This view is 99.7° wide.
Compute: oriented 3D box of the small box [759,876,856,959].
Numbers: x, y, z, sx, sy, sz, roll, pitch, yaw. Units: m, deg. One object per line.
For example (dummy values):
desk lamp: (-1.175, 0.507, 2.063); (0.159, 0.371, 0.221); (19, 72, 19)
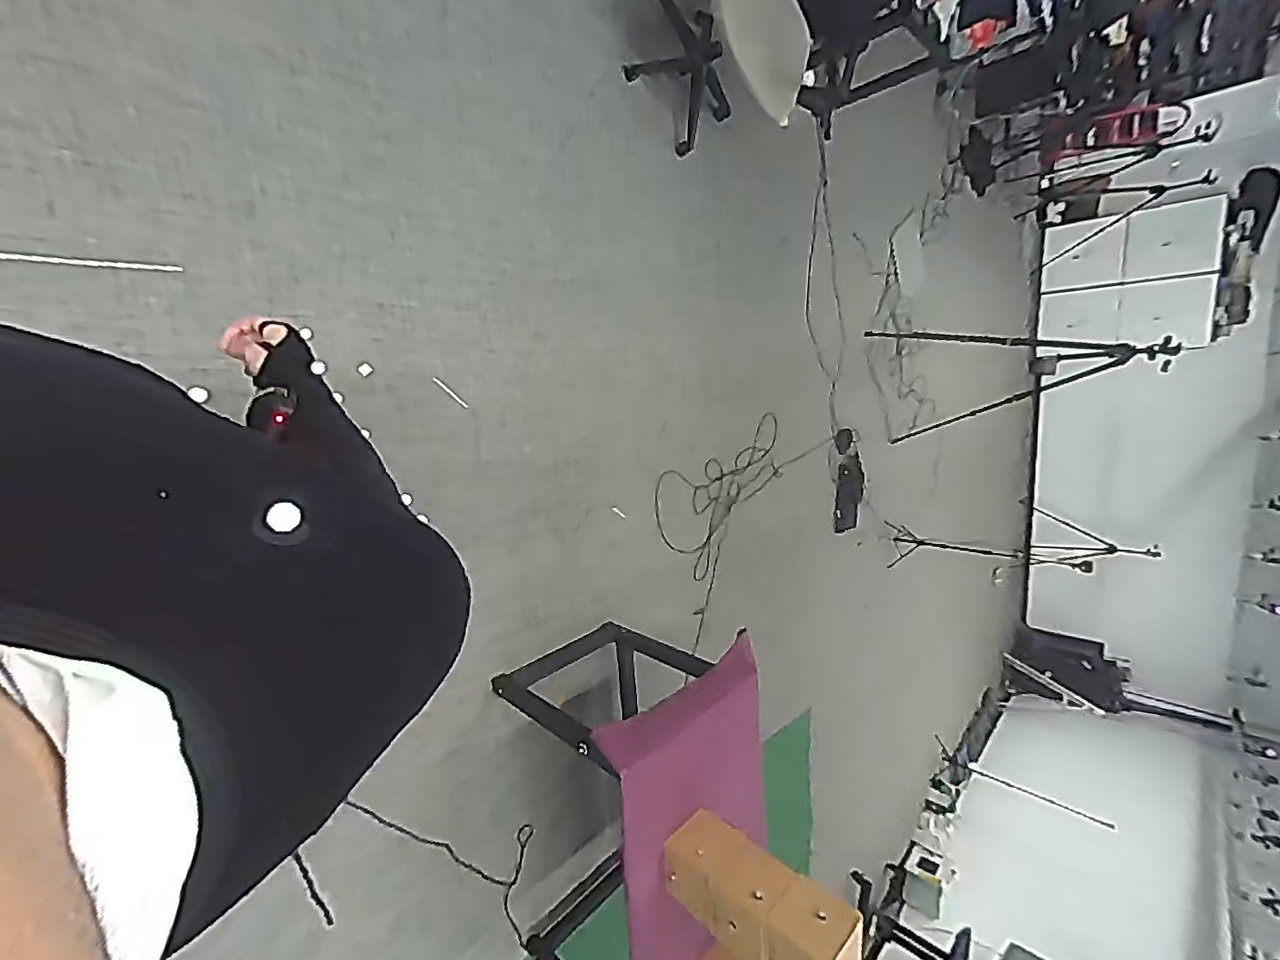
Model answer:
small box: (0.405, 1.123, 1.311); (0.179, 0.176, 0.168); (-14, 104, -44)

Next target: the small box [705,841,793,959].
small box: (0.284, 1.108, 1.421); (0.179, 0.176, 0.168); (-11, 104, -44)
